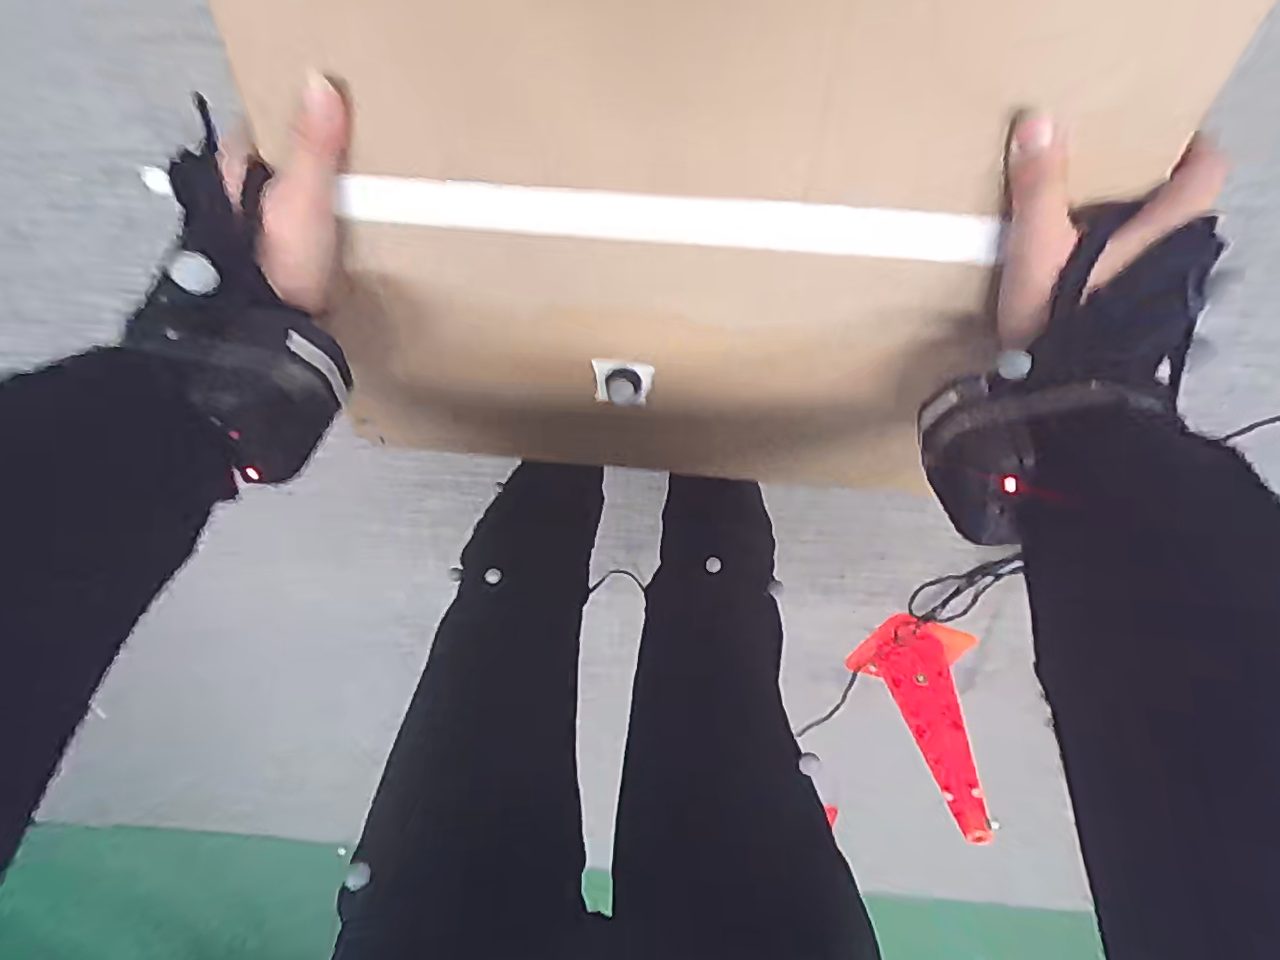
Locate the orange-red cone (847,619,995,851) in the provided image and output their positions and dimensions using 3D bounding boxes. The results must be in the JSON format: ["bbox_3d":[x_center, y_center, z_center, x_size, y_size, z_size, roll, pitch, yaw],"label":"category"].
[{"bbox_3d":[0.549,0.466,0.984,0.199,0.360,0.198,19,126,-9],"label":"orange-red cone"}]
